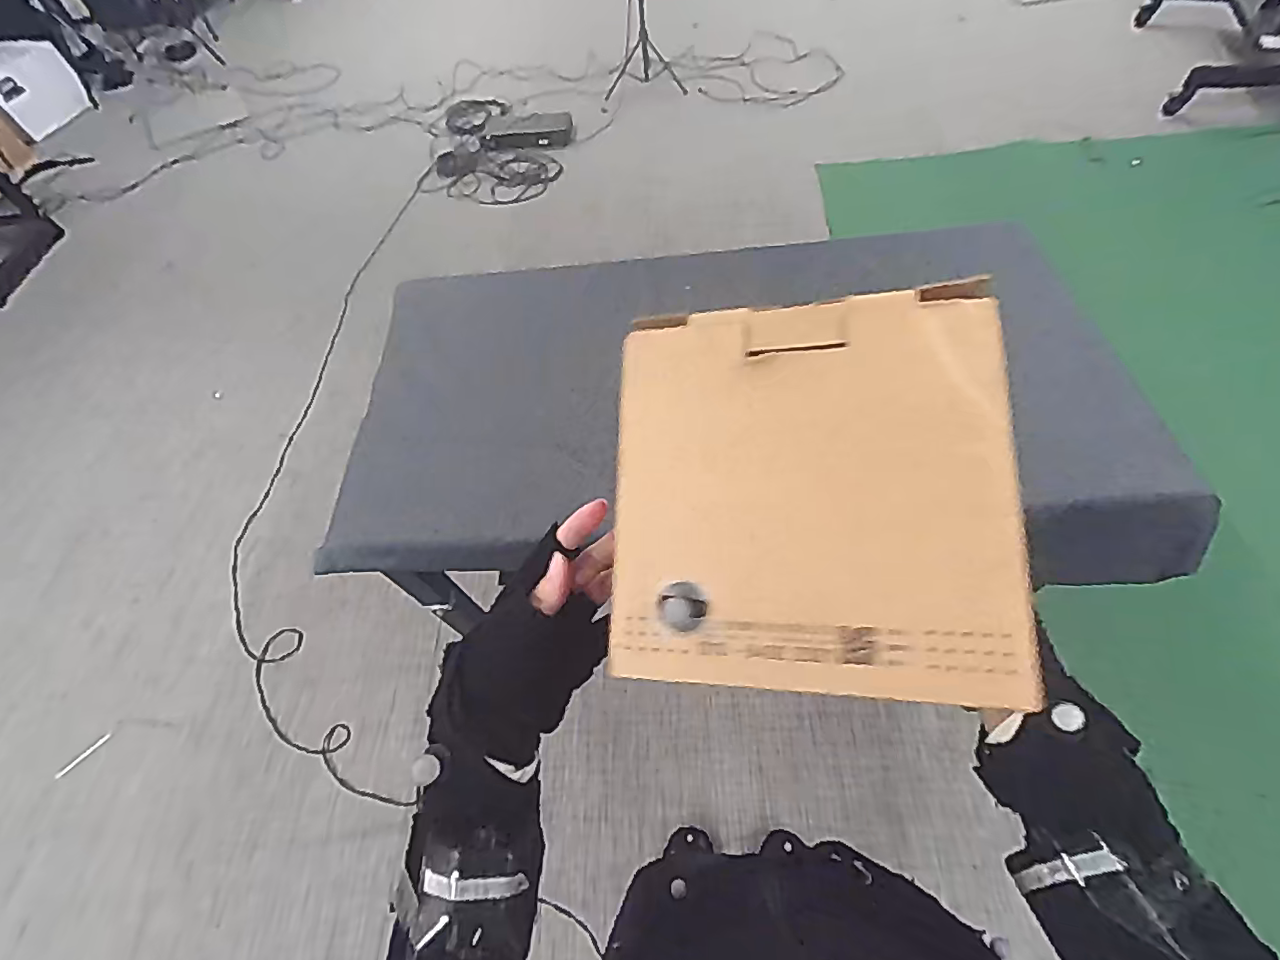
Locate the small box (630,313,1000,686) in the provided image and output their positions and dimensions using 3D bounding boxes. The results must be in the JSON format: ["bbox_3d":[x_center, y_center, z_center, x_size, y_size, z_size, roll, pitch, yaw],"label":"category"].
[{"bbox_3d":[0.092,0.023,0.328,0.168,0.179,0.176,0,77,13],"label":"small box"}]
